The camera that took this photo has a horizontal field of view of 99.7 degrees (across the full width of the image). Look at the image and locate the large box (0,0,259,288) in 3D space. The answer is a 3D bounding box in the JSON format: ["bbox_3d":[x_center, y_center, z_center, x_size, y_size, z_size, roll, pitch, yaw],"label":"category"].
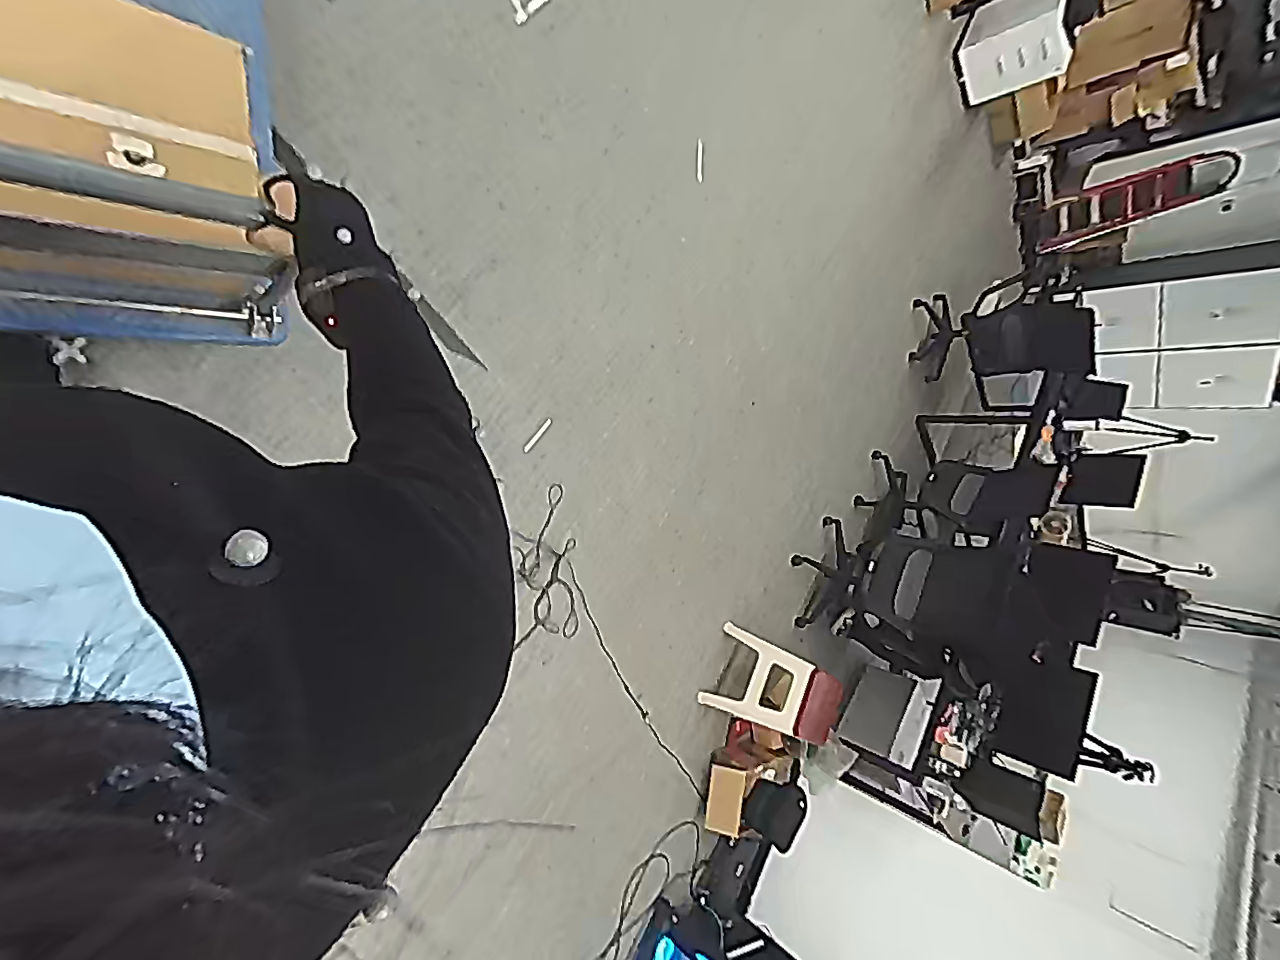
[{"bbox_3d":[-0.842,-0.489,0.787,0.408,0.320,0.320,-7,101,-45],"label":"large box"}]
